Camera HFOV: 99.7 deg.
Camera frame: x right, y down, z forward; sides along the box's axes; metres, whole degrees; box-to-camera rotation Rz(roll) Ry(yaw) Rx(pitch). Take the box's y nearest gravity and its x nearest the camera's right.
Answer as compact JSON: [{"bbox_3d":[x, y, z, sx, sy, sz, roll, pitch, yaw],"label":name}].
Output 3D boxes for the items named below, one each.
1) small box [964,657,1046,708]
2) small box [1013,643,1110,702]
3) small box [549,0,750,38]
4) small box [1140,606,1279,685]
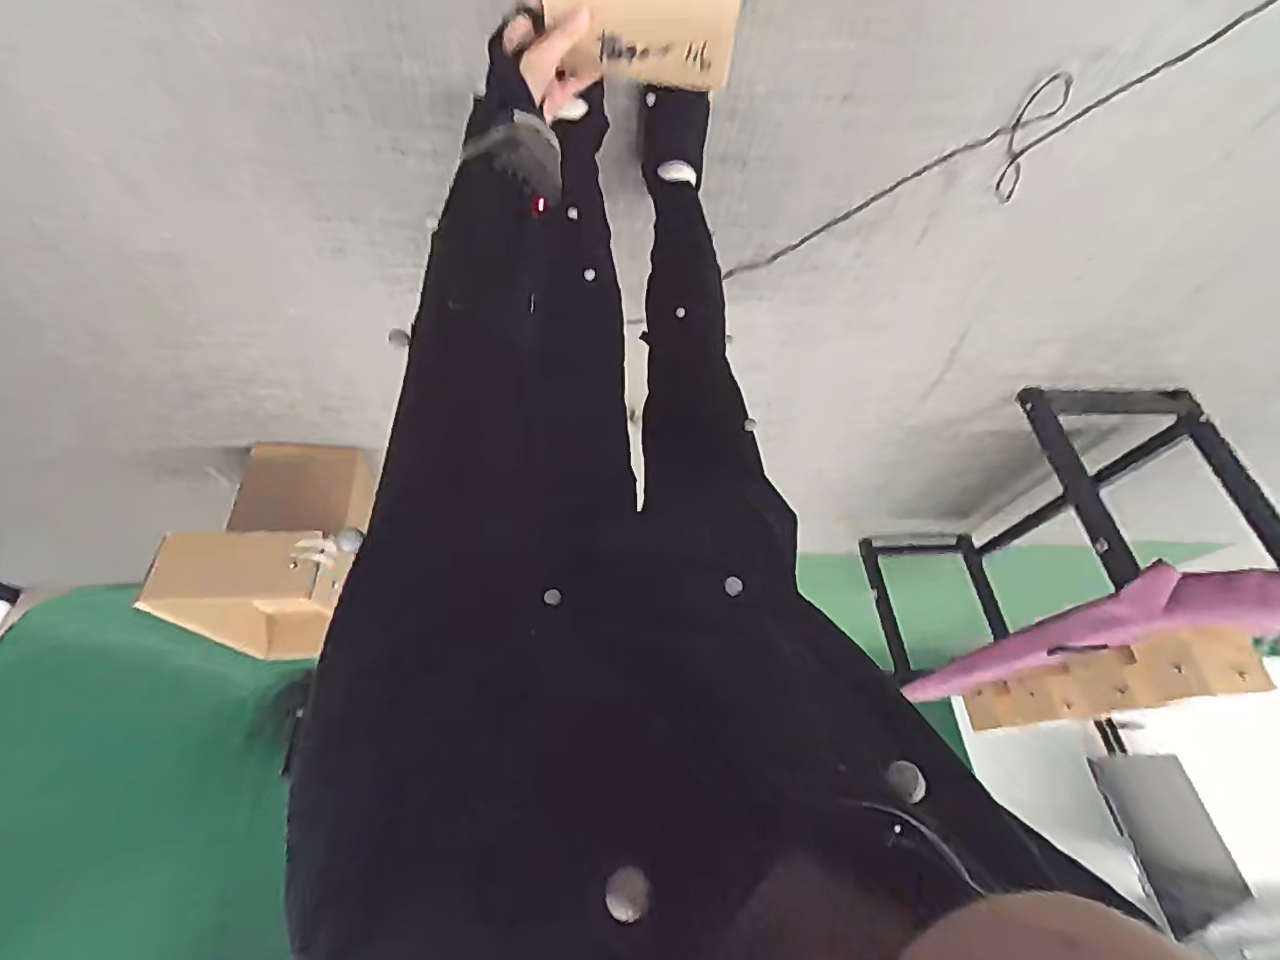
[{"bbox_3d":[1.409,0.783,2.097,0.179,0.176,0.168,2,152,-10],"label":"small box"},{"bbox_3d":[1.445,0.665,1.867,0.179,0.176,0.168,1,153,-9],"label":"small box"},{"bbox_3d":[0.020,-0.488,0.404,0.168,0.176,0.179,8,157,-1],"label":"small box"},{"bbox_3d":[1.495,0.436,1.425,0.179,0.176,0.168,-2,153,-4],"label":"small box"}]
